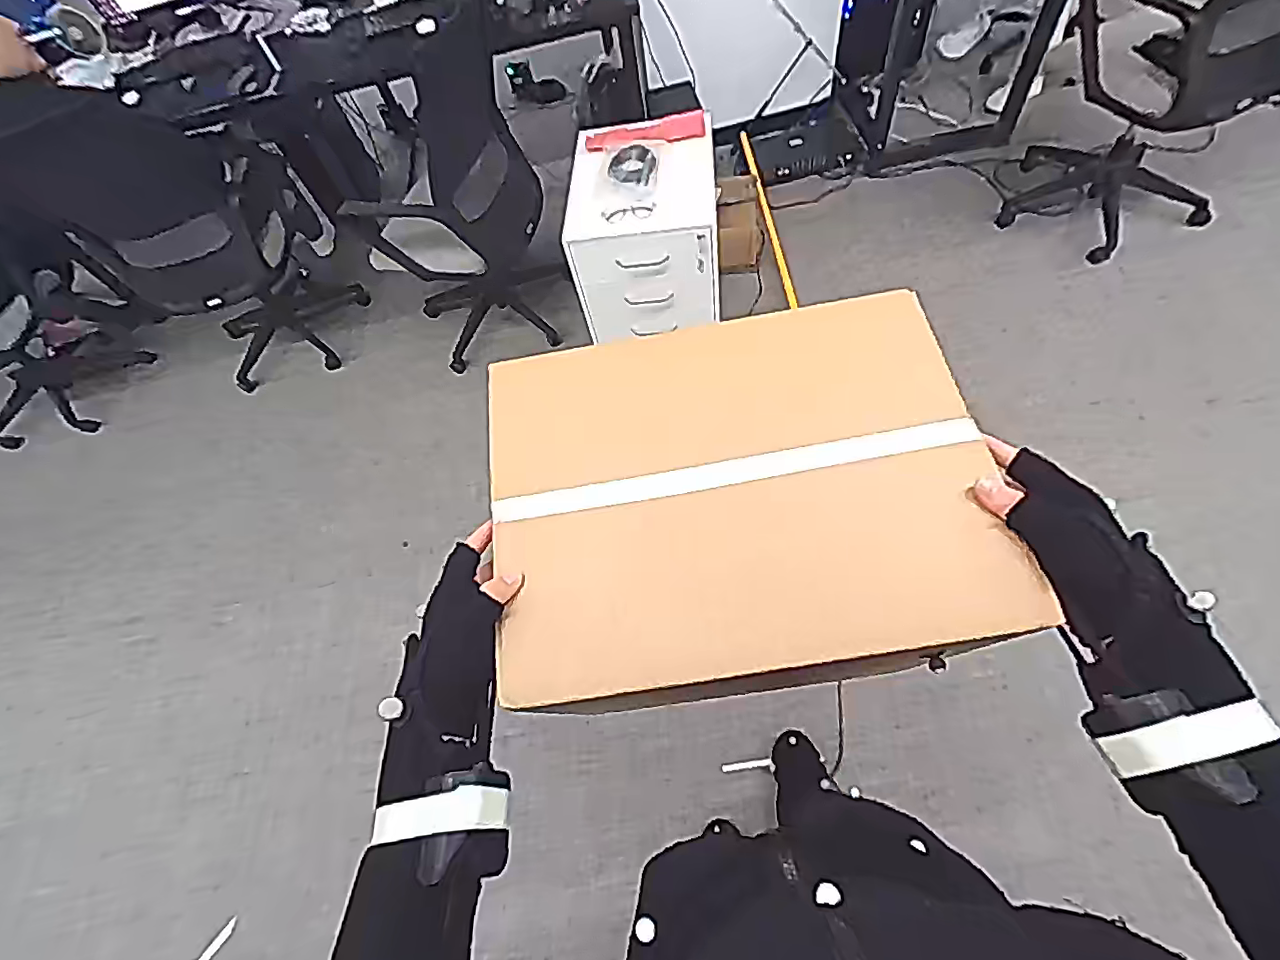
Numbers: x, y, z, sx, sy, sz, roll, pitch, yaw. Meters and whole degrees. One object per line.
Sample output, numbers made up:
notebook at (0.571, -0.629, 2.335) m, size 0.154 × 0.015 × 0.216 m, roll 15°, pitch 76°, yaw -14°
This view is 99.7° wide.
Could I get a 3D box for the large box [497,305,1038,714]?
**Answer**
large box at (0.093, 0.062, 0.595) m, size 0.408 × 0.320 × 0.320 m, roll -10°, pitch 65°, yaw 2°
